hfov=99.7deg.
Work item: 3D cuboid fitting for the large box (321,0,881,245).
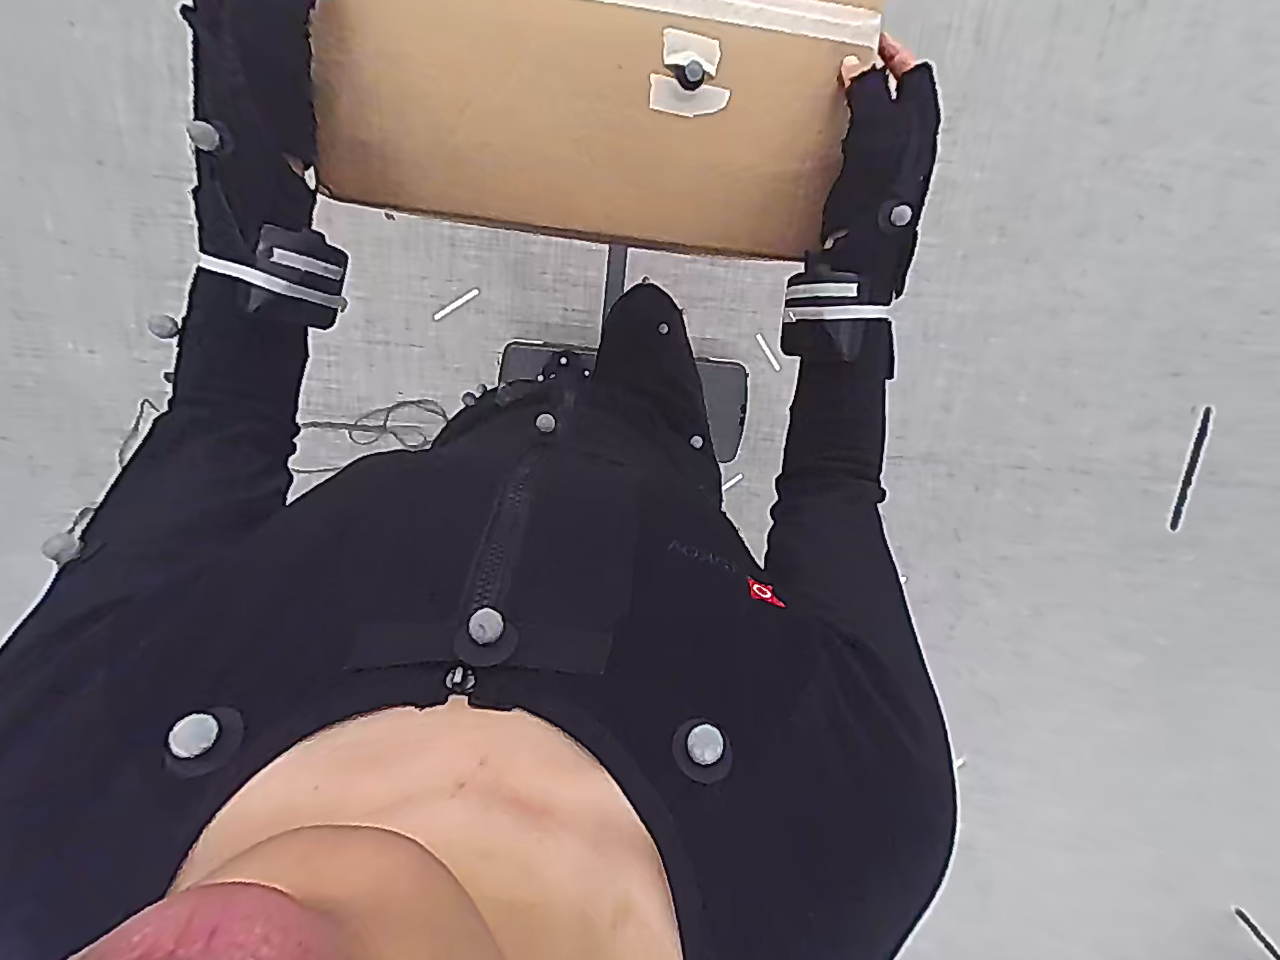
[{"bbox_3d":[-0.034,-0.412,0.517,0.408,0.320,0.320,4,113,-7],"label":"large box"}]
